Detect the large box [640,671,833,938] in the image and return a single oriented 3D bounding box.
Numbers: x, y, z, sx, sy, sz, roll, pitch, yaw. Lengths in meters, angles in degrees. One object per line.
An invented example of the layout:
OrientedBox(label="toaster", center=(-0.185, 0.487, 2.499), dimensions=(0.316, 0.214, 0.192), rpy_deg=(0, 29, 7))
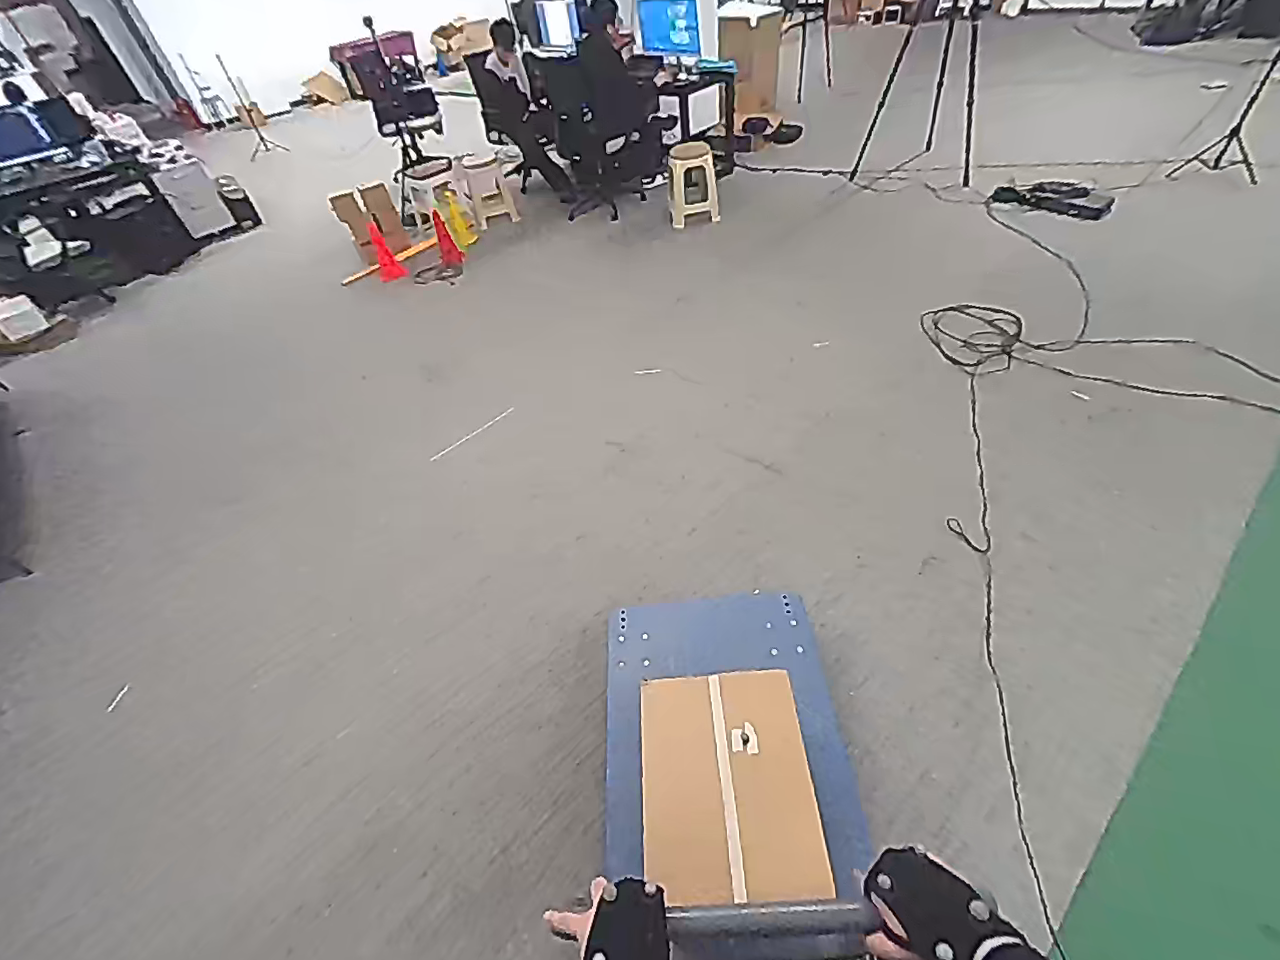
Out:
OrientedBox(label="large box", center=(0.179, 0.670, 1.128), dimensions=(0.320, 0.320, 0.408), rpy_deg=(-6, 44, 4))
